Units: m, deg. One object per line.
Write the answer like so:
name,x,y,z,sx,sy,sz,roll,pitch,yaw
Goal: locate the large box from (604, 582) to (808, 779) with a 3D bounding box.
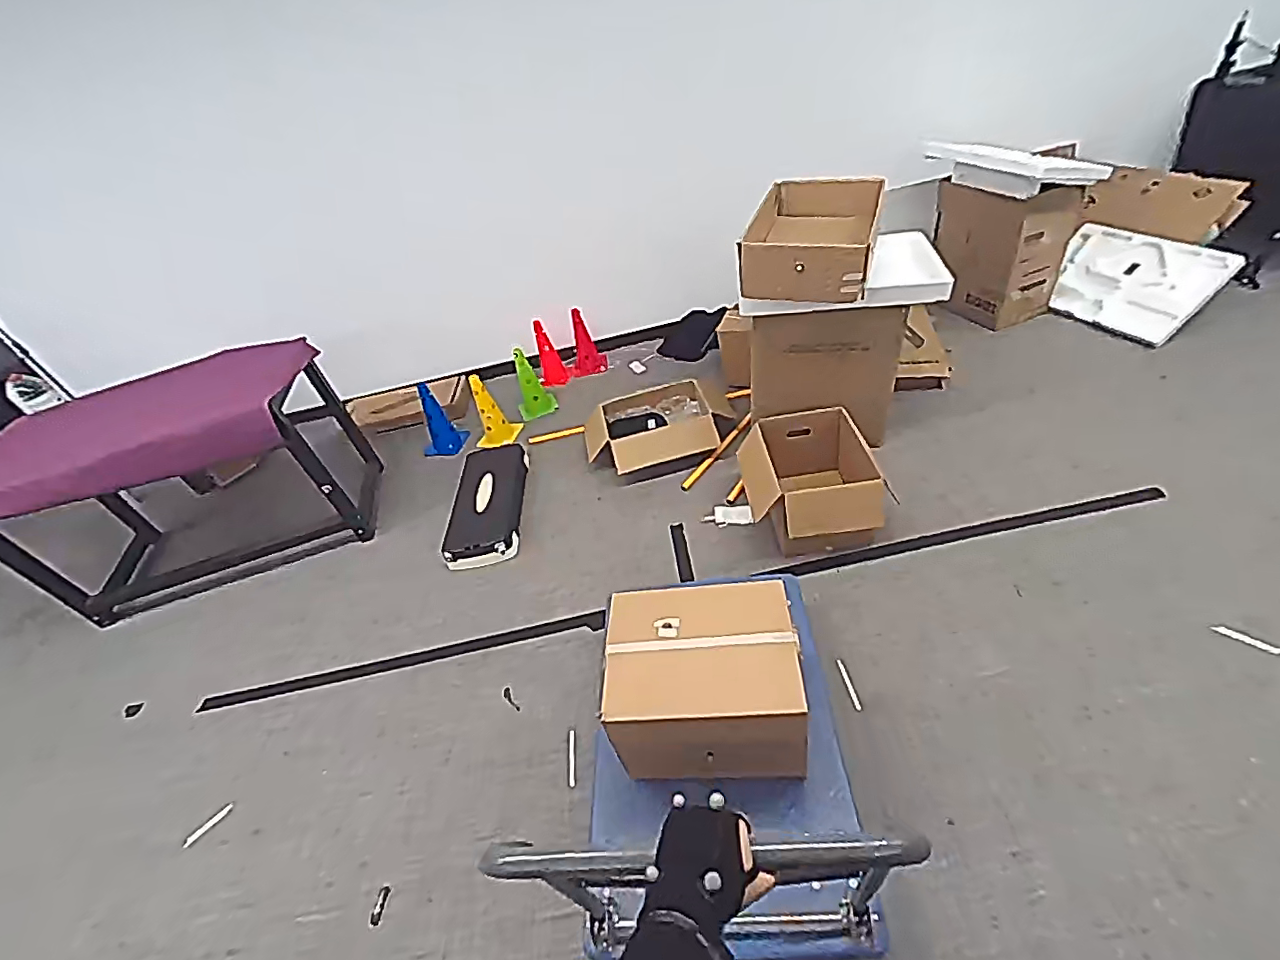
large box,0.157,0.473,1.264,0.408,0.320,0.320,-8,40,9
